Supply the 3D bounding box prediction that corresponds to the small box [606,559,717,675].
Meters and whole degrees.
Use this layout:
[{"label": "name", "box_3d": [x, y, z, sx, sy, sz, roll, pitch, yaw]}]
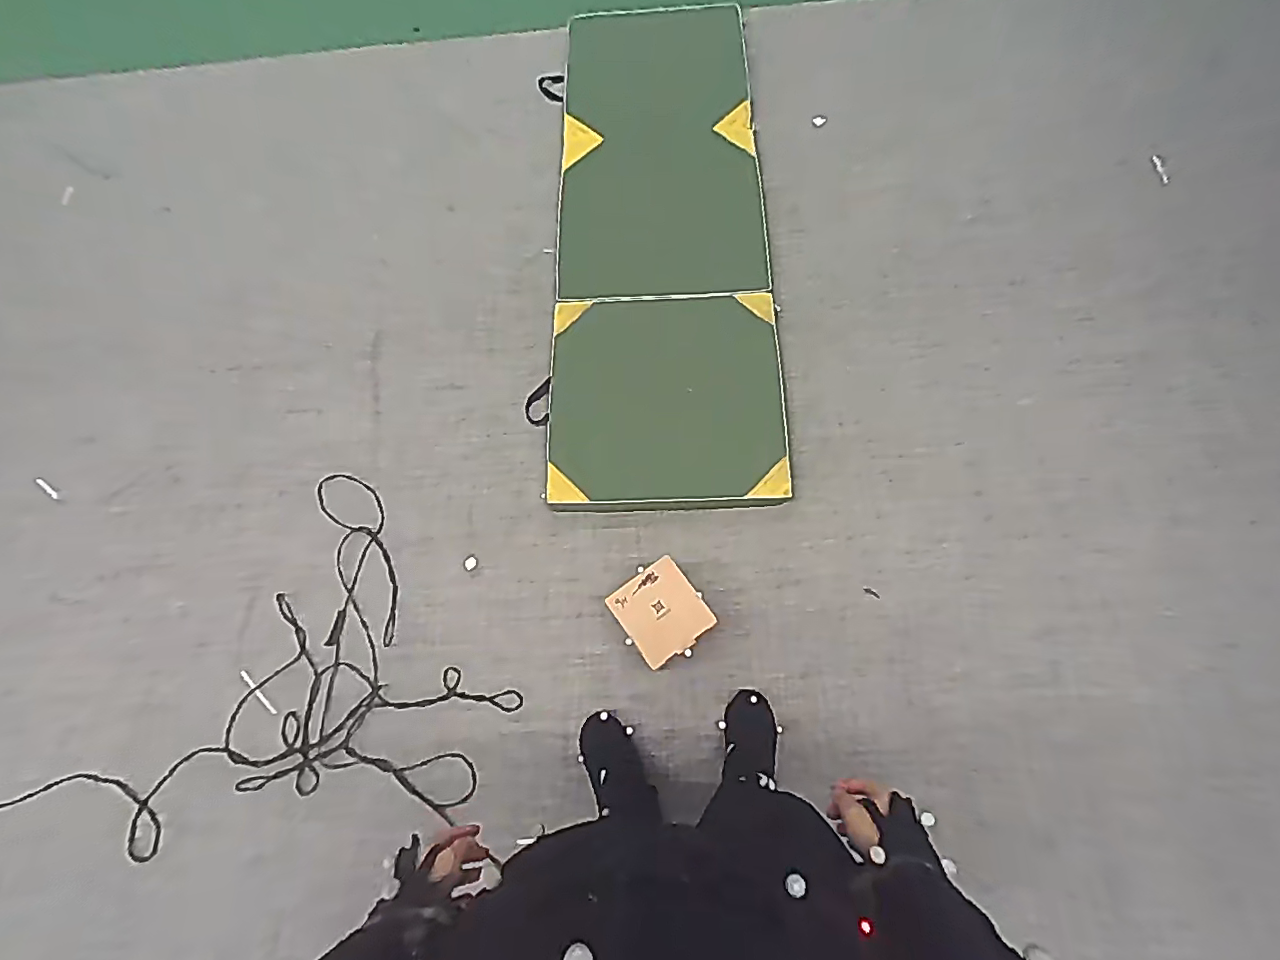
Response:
[{"label": "small box", "box_3d": [0.048, 0.301, 1.176, 0.168, 0.176, 0.179, -35, 72, -9]}]
